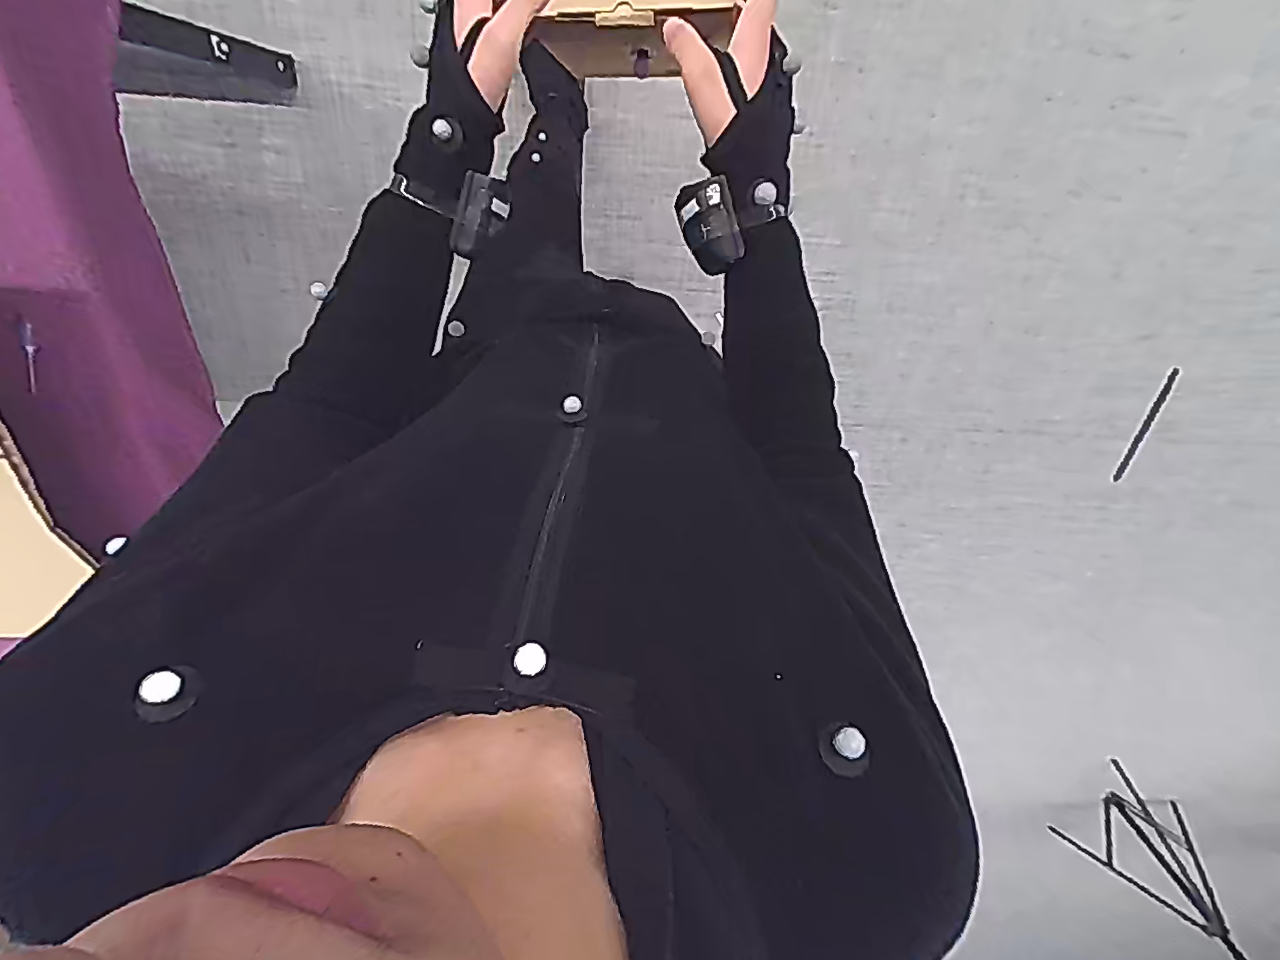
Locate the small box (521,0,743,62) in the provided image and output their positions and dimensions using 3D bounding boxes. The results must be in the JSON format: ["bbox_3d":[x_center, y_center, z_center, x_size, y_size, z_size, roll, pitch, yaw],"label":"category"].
[{"bbox_3d":[0.005,-0.463,0.438,0.168,0.176,0.179,6,116,8],"label":"small box"}]
